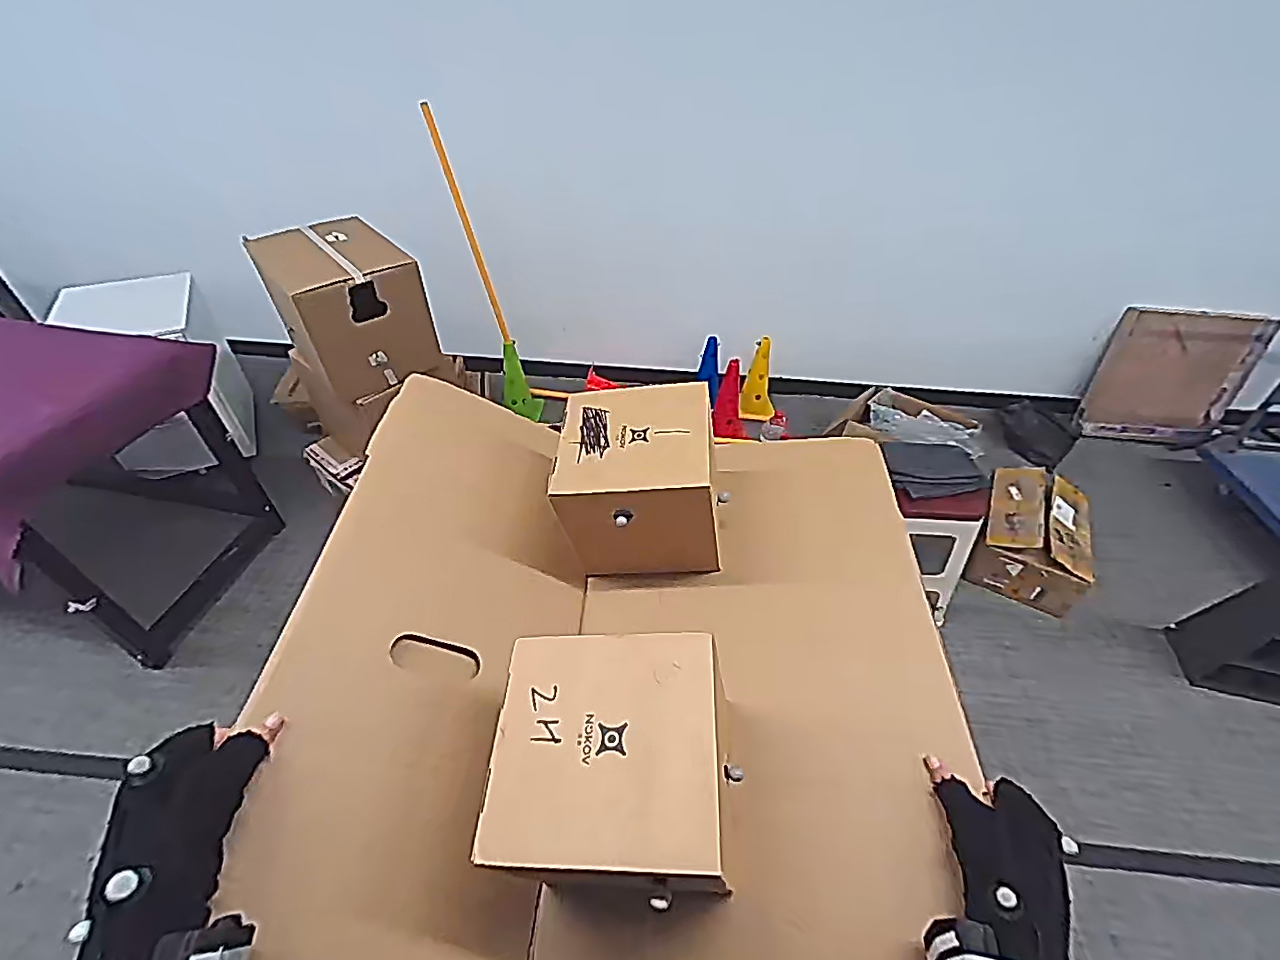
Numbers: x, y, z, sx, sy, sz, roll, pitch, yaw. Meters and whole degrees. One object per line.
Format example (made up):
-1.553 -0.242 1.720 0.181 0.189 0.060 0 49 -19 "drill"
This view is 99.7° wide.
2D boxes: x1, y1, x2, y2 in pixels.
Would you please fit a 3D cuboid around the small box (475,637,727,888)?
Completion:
-0.014 0.251 0.480 0.179 0.176 0.168 -4 49 11 "small box"

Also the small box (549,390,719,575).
0.005 0.009 0.683 0.179 0.176 0.168 -3 49 10 "small box"
